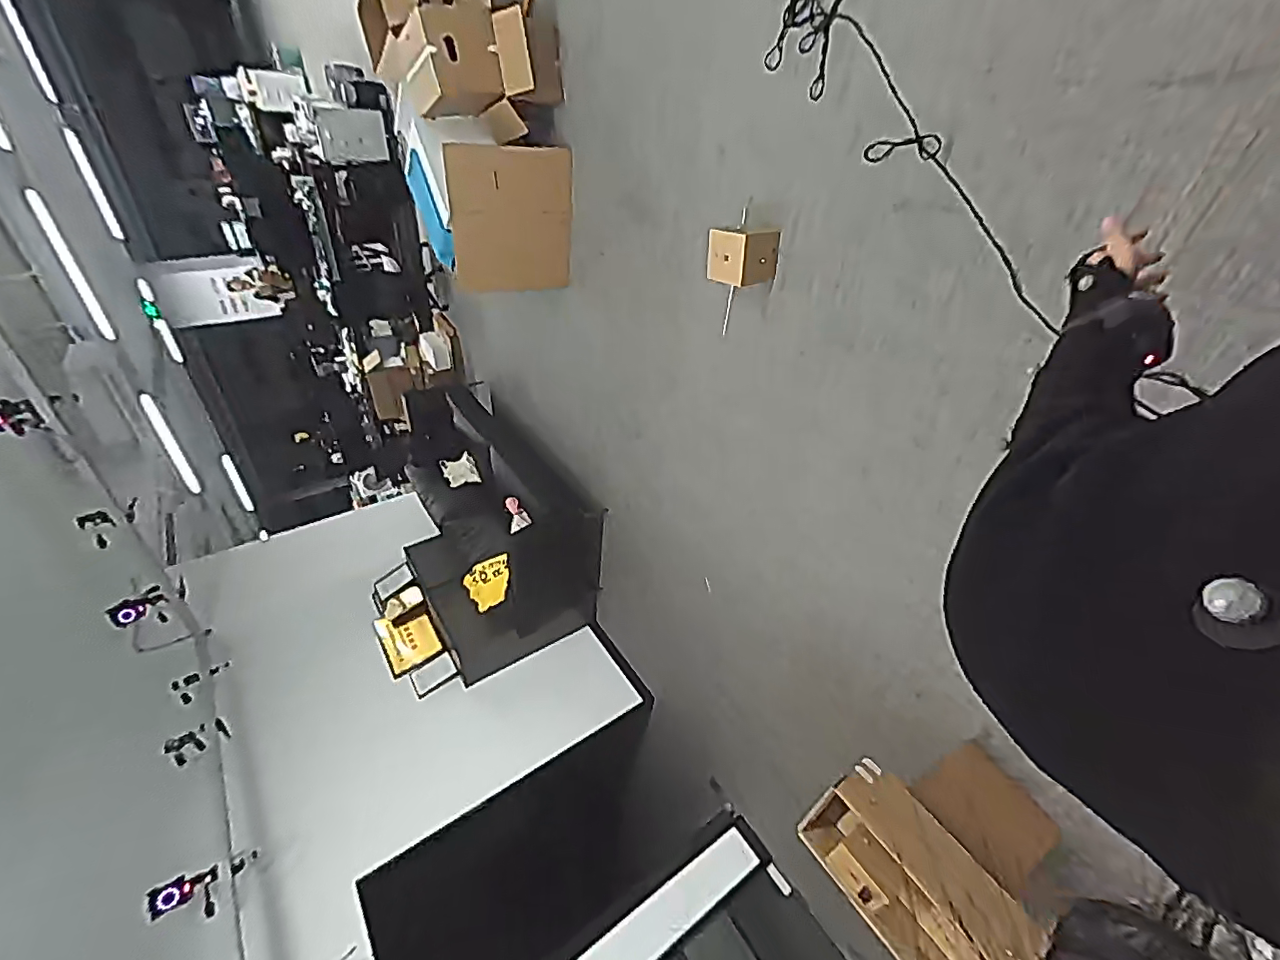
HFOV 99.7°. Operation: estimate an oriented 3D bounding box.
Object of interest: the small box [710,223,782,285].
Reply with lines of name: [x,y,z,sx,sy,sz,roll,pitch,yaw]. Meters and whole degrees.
small box: [0.365,-0.786,1.869,0.179,0.176,0.168,38,139,43]
